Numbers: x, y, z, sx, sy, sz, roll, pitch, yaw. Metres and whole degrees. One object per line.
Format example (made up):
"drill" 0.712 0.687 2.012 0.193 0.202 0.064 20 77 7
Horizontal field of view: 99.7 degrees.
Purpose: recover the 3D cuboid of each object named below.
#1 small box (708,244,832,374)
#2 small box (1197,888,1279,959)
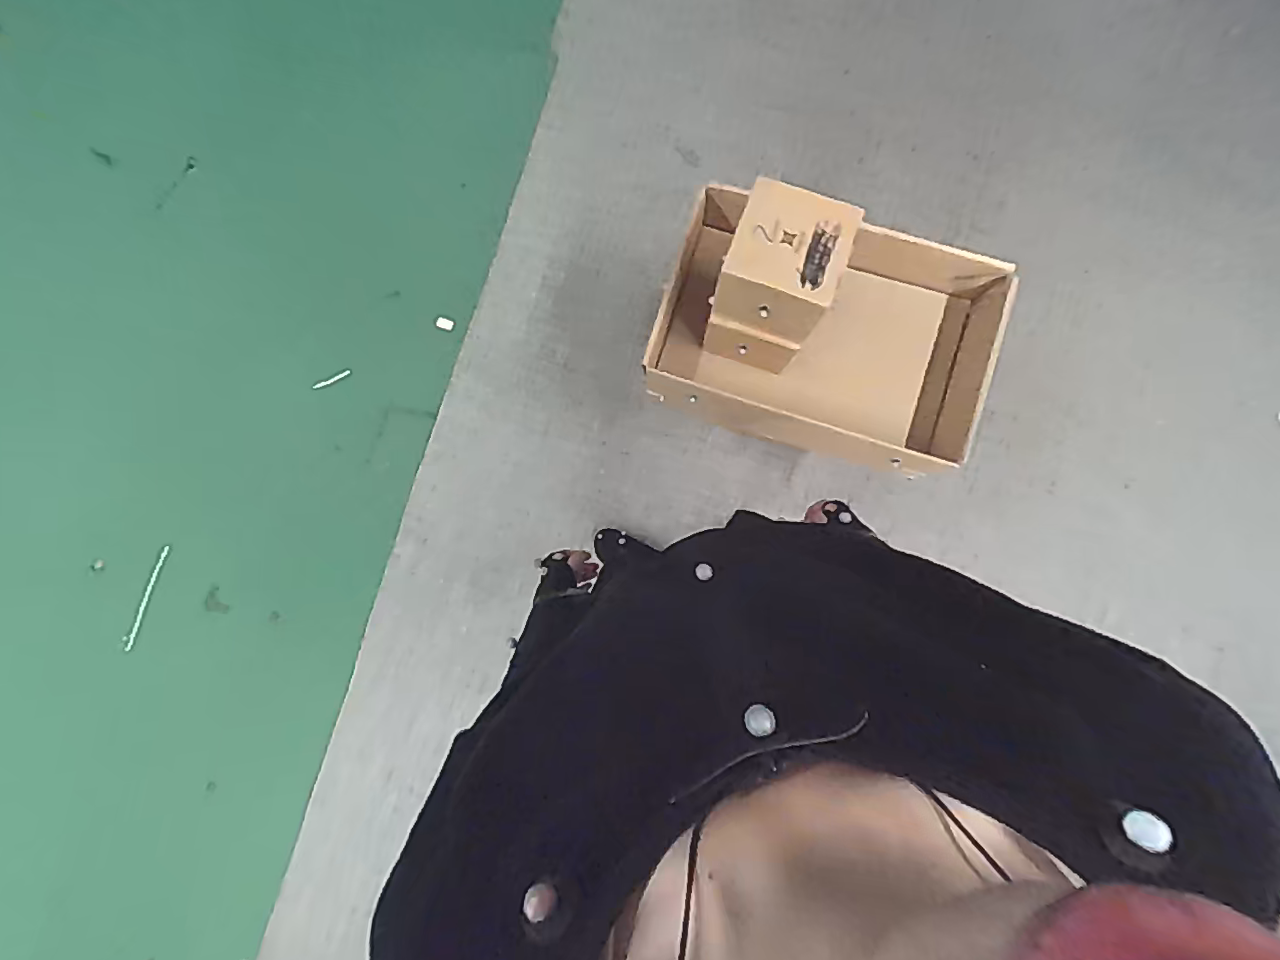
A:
"small box" 0.243 -0.322 1.055 0.179 0.176 0.168 19 86 4
"small box" 1.478 1.115 1.270 0.168 0.176 0.179 16 85 5
